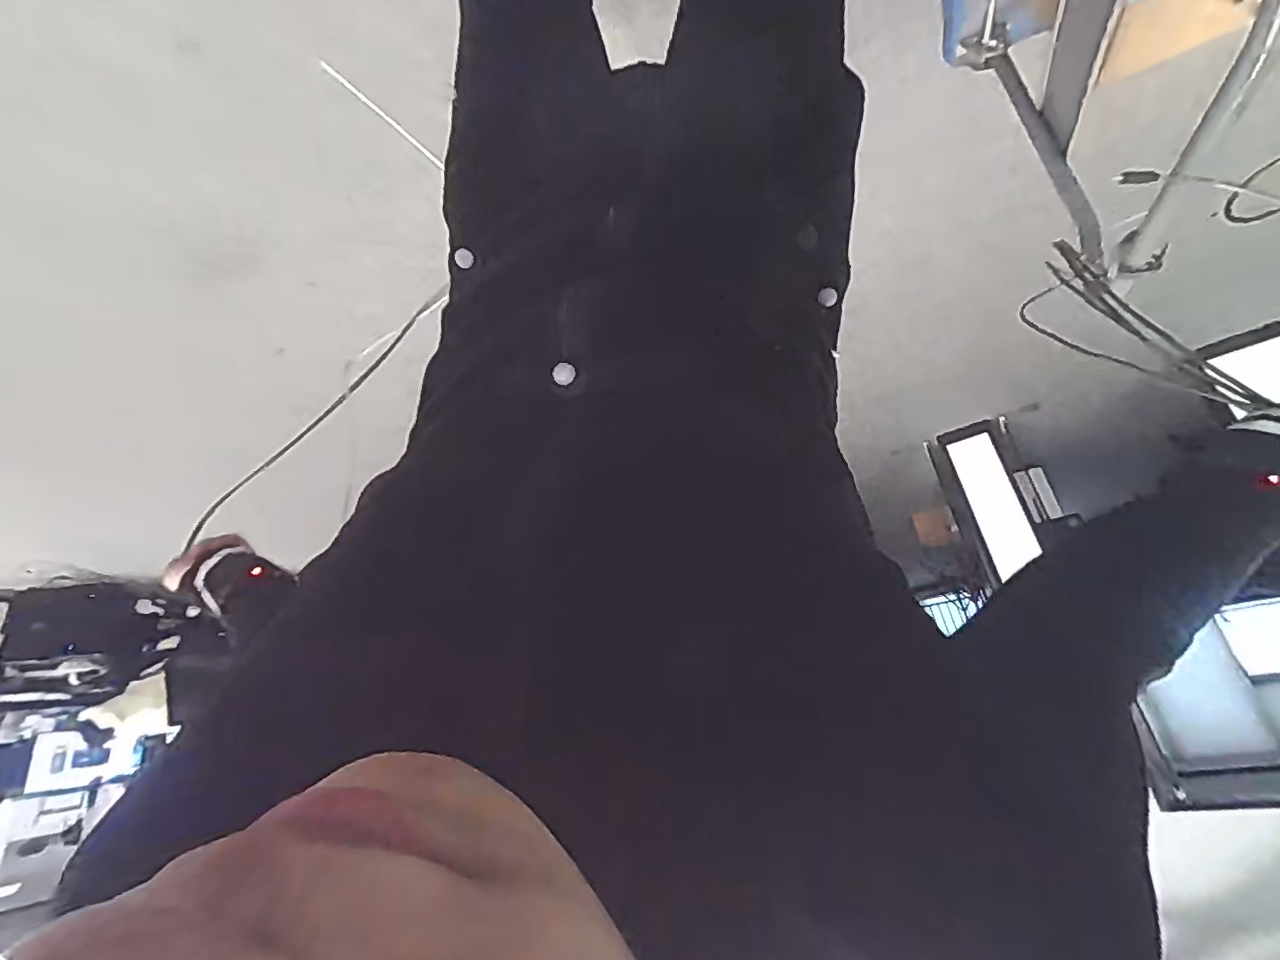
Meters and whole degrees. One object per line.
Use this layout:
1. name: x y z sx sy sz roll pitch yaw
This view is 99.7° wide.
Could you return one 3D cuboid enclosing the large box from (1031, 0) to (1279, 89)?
1. large box: 0.846 -0.874 0.751 0.408 0.320 0.320 -17 155 18
